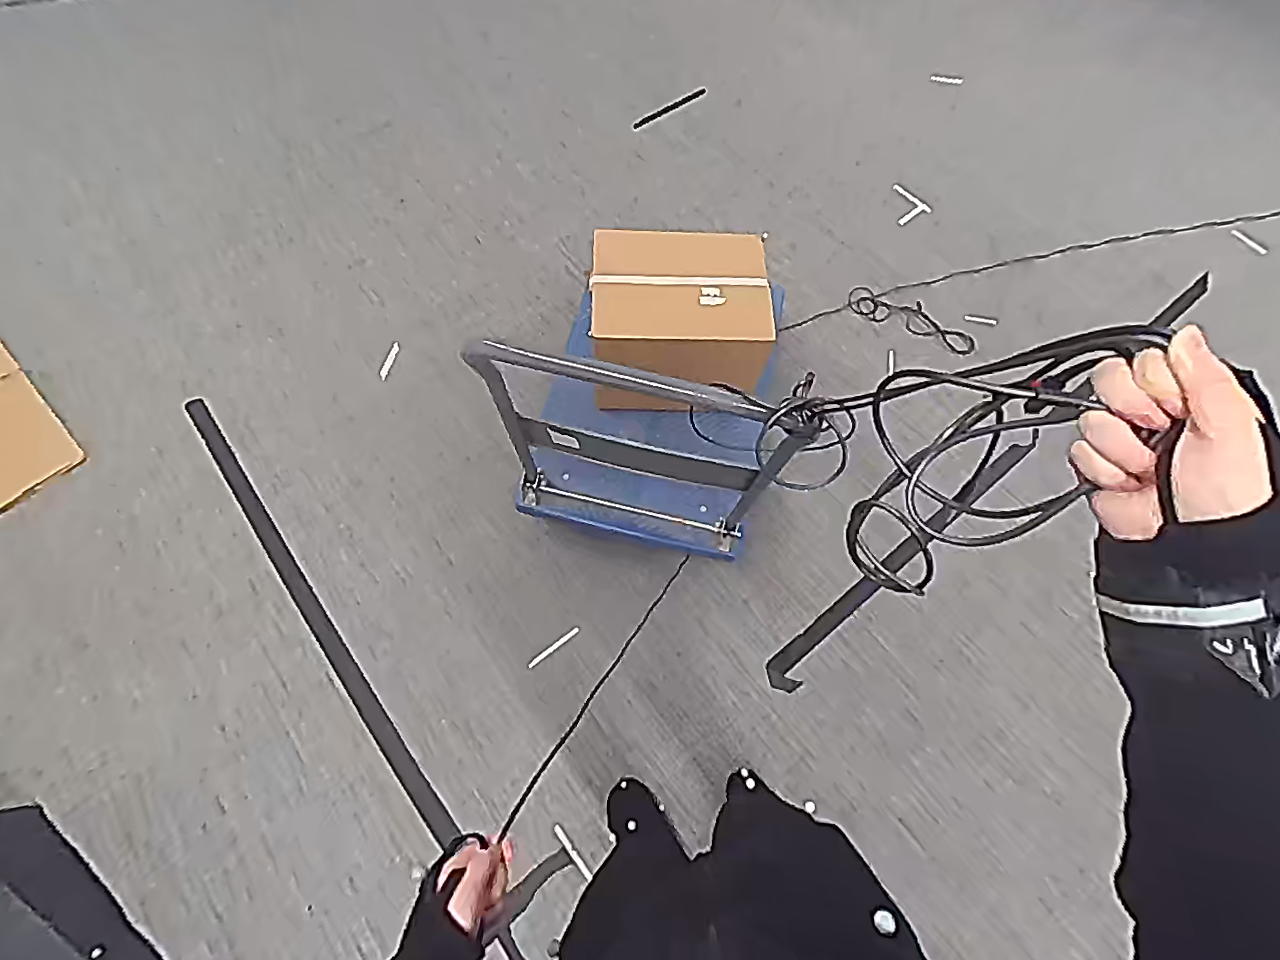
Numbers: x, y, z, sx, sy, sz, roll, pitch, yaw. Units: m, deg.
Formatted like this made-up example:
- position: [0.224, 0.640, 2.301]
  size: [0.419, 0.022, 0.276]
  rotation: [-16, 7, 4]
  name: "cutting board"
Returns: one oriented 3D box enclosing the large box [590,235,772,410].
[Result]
- position: [0.077, -0.382, 1.363]
  size: [0.408, 0.320, 0.320]
  rotation: [0, 68, -4]
  name: "large box"
